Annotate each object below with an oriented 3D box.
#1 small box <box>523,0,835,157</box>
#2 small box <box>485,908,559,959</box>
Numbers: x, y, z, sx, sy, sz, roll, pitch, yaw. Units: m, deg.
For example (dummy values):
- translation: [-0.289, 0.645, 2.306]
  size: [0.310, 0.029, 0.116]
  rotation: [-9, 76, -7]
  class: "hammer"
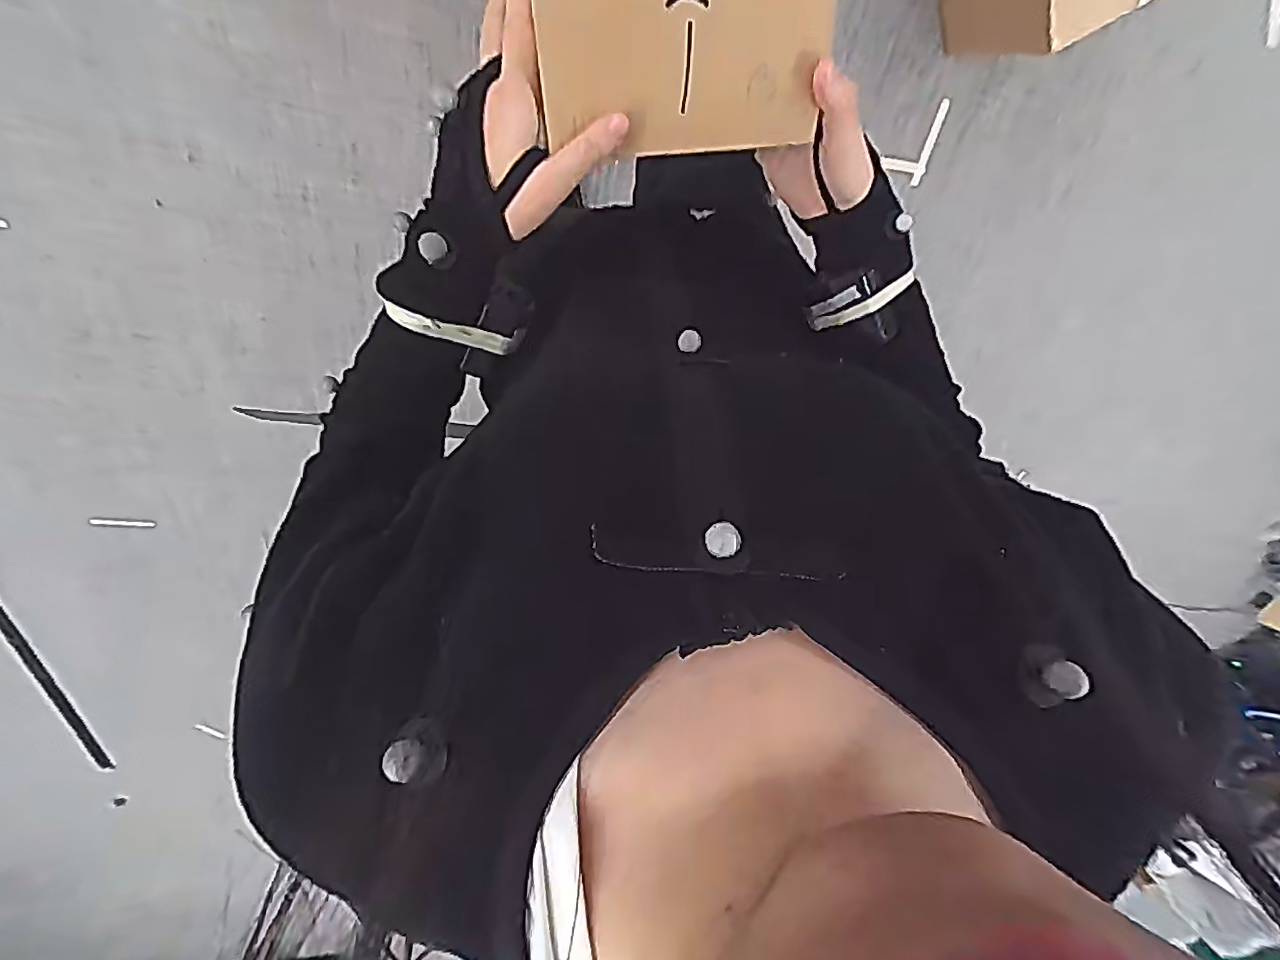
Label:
- translation: [0.010, -0.318, 0.330]
  size: [0.168, 0.176, 0.179]
  rotation: [-8, 133, -6]
  class: "small box"
- translation: [-0.291, 1.171, 1.321]
  size: [0.168, 0.176, 0.179]
  rotation: [6, 126, -13]
  class: "small box"
